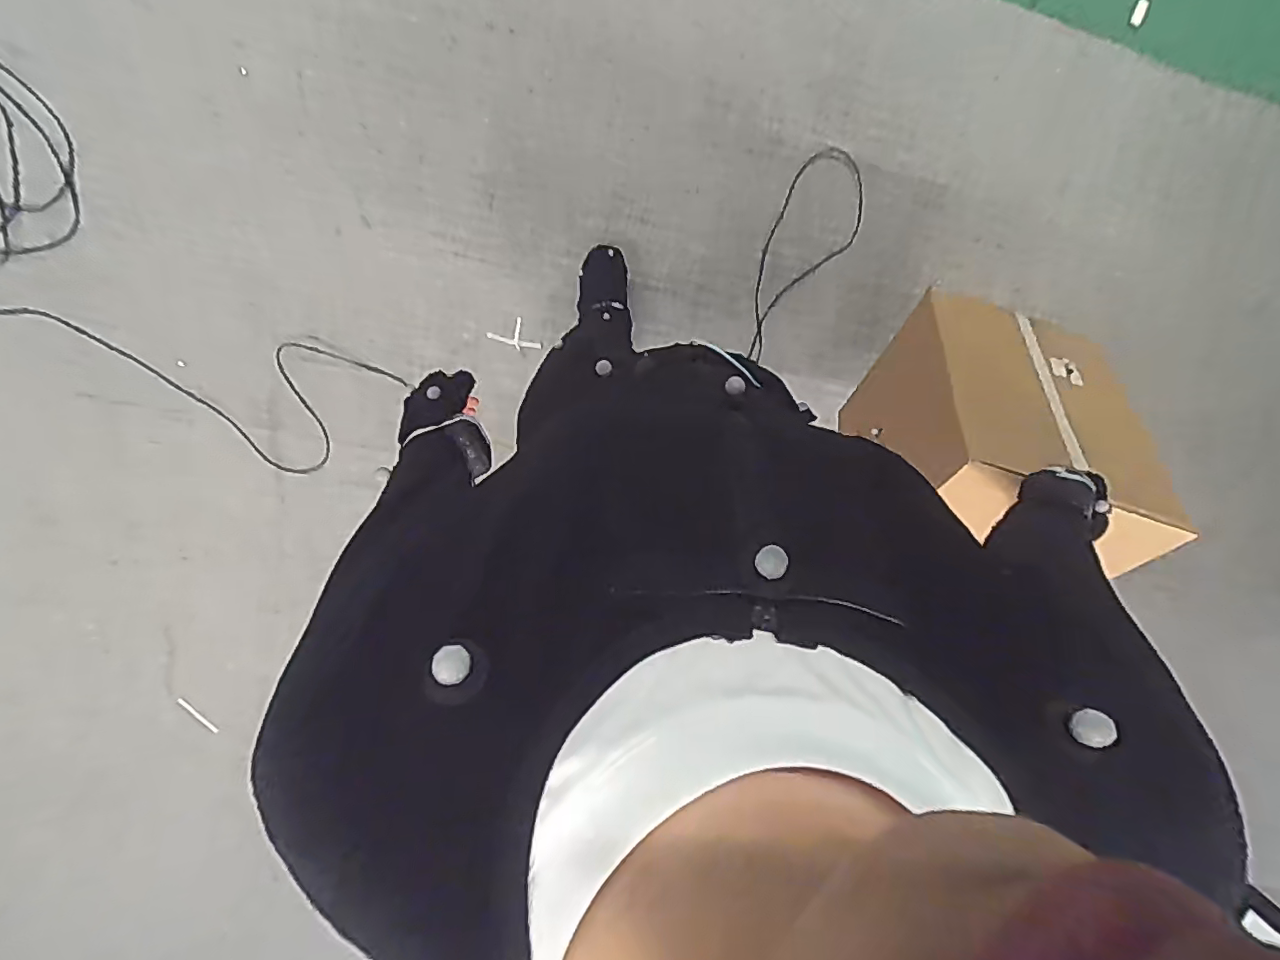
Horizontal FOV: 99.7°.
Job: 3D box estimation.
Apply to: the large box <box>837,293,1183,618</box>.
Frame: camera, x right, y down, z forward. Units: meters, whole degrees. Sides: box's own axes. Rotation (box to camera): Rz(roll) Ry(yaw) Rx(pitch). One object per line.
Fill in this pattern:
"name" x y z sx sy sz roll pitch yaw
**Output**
"large box" 0.553 -0.039 0.917 0.320 0.408 0.320 18 141 -3
